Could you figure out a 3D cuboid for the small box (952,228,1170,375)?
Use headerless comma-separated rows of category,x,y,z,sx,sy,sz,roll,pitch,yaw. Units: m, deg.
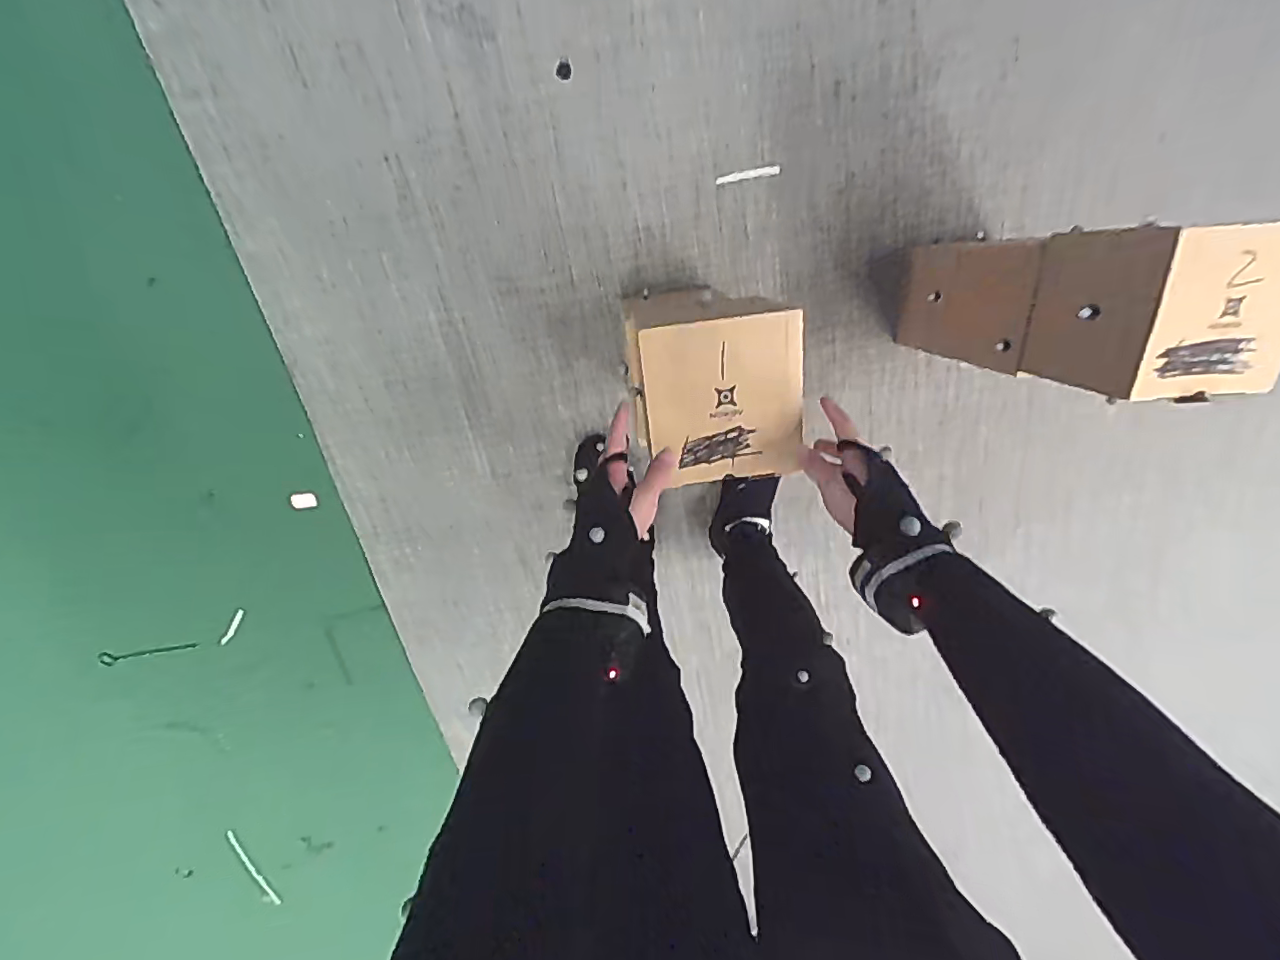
small box,0.584,-0.259,0.779,0.168,0.176,0.179,-5,114,-2

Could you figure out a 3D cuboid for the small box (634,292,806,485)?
small box,0.085,-0.113,0.630,0.168,0.176,0.179,-7,113,-1

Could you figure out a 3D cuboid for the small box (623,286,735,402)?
small box,0.062,-0.239,0.933,0.179,0.176,0.168,-6,114,-2

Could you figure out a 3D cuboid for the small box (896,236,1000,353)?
small box,0.567,-0.318,0.927,0.168,0.176,0.179,1,114,-2

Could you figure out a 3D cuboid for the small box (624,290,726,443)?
small box,0.067,-0.170,0.784,0.168,0.176,0.179,-6,115,-1
